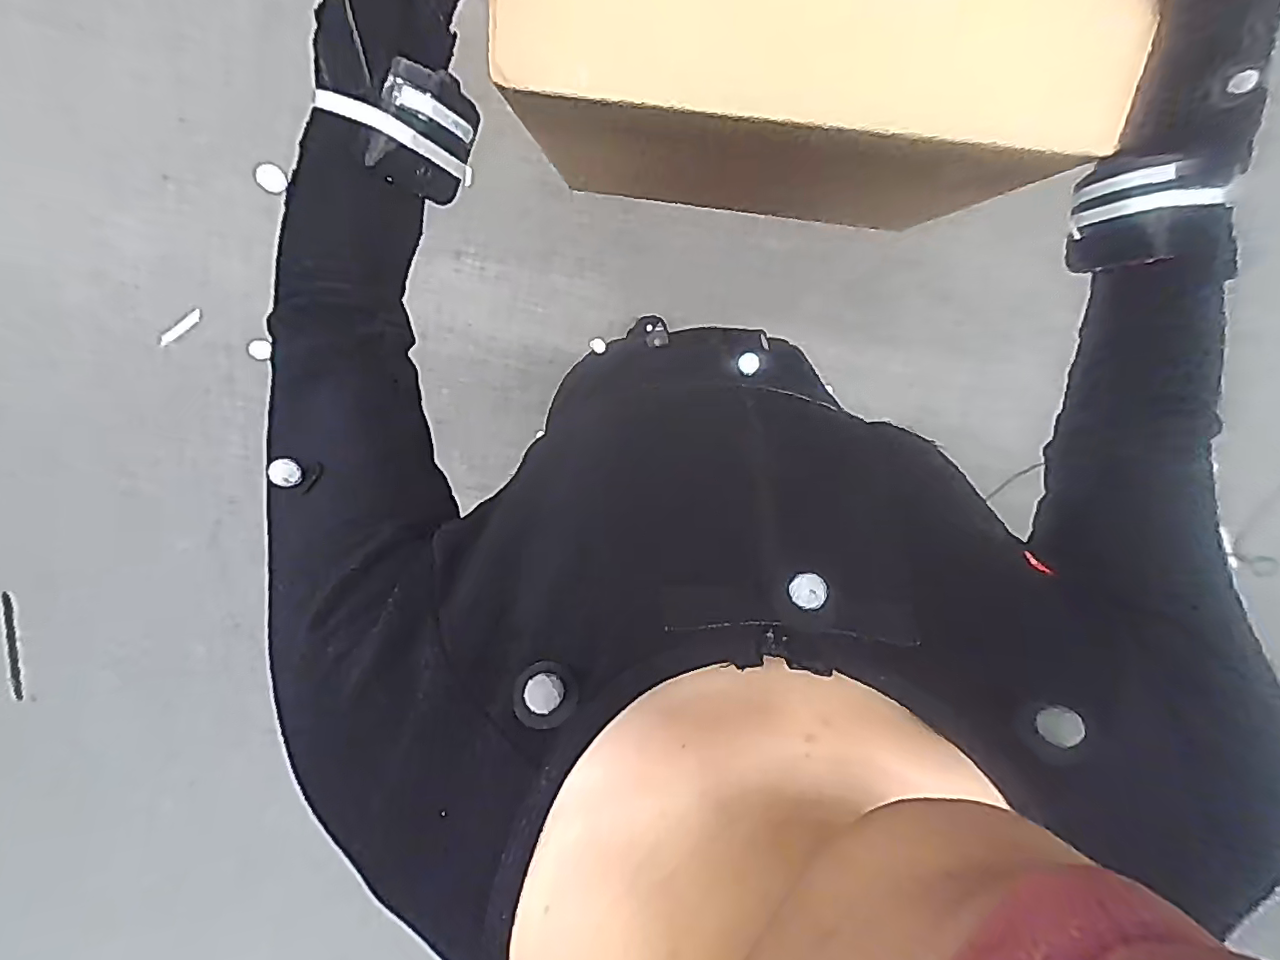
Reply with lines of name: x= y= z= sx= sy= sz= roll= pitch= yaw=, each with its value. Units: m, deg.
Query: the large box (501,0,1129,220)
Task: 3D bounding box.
large box: x=0.119 y=-0.431 z=0.461 sx=0.408 sy=0.320 sz=0.320 roll=6 pitch=107 yaw=-1
